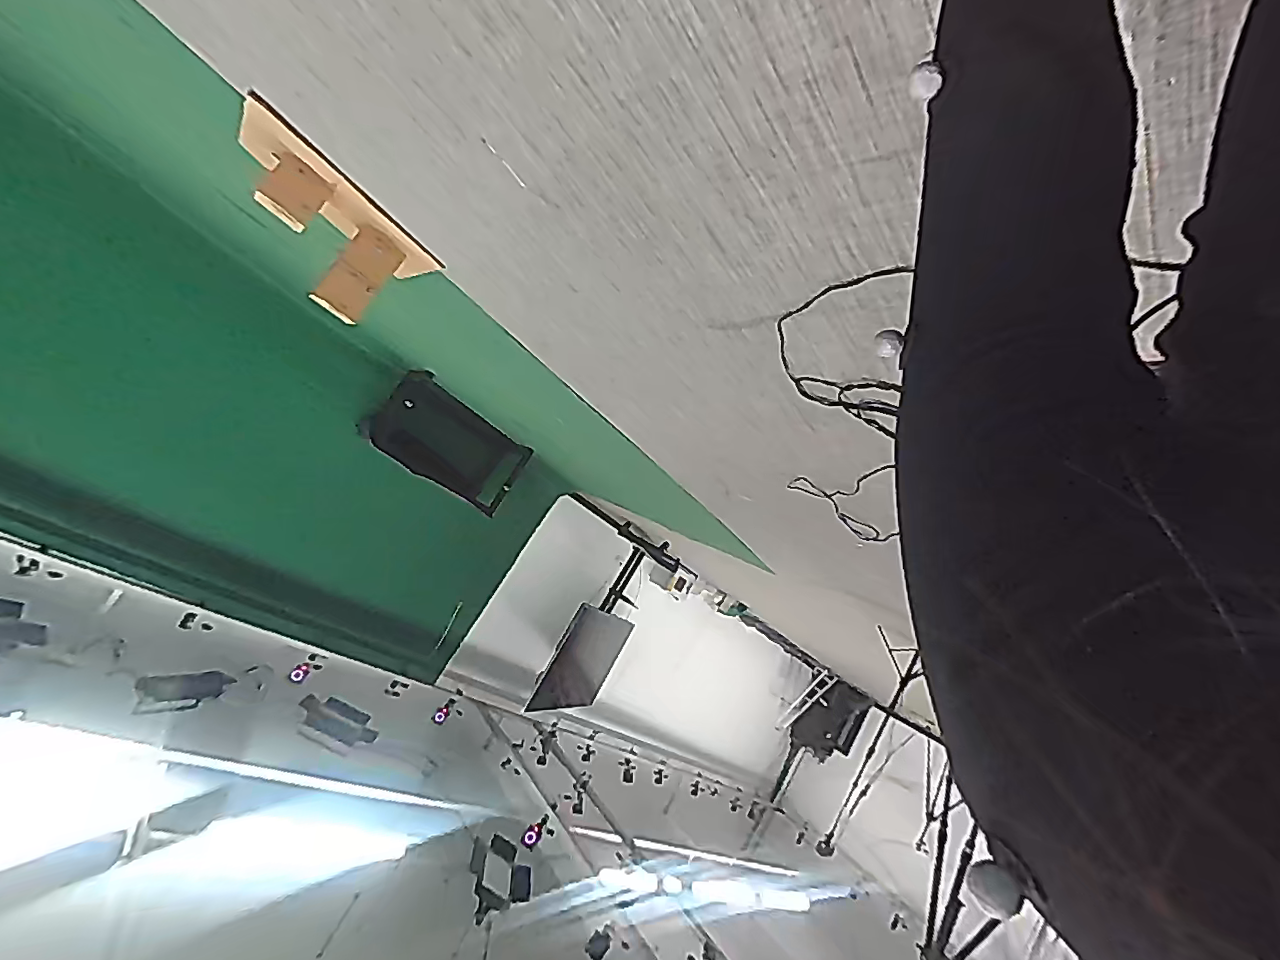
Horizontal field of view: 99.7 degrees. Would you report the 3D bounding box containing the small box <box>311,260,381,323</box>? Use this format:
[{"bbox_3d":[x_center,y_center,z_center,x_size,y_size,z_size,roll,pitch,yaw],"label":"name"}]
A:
[{"bbox_3d":[-1.132,-0.728,2.089,0.179,0.176,0.168,21,166,49],"label":"small box"}]

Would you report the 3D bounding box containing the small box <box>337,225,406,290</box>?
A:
[{"bbox_3d":[-1.048,-0.866,2.115,0.168,0.176,0.179,38,168,-38],"label":"small box"}]
